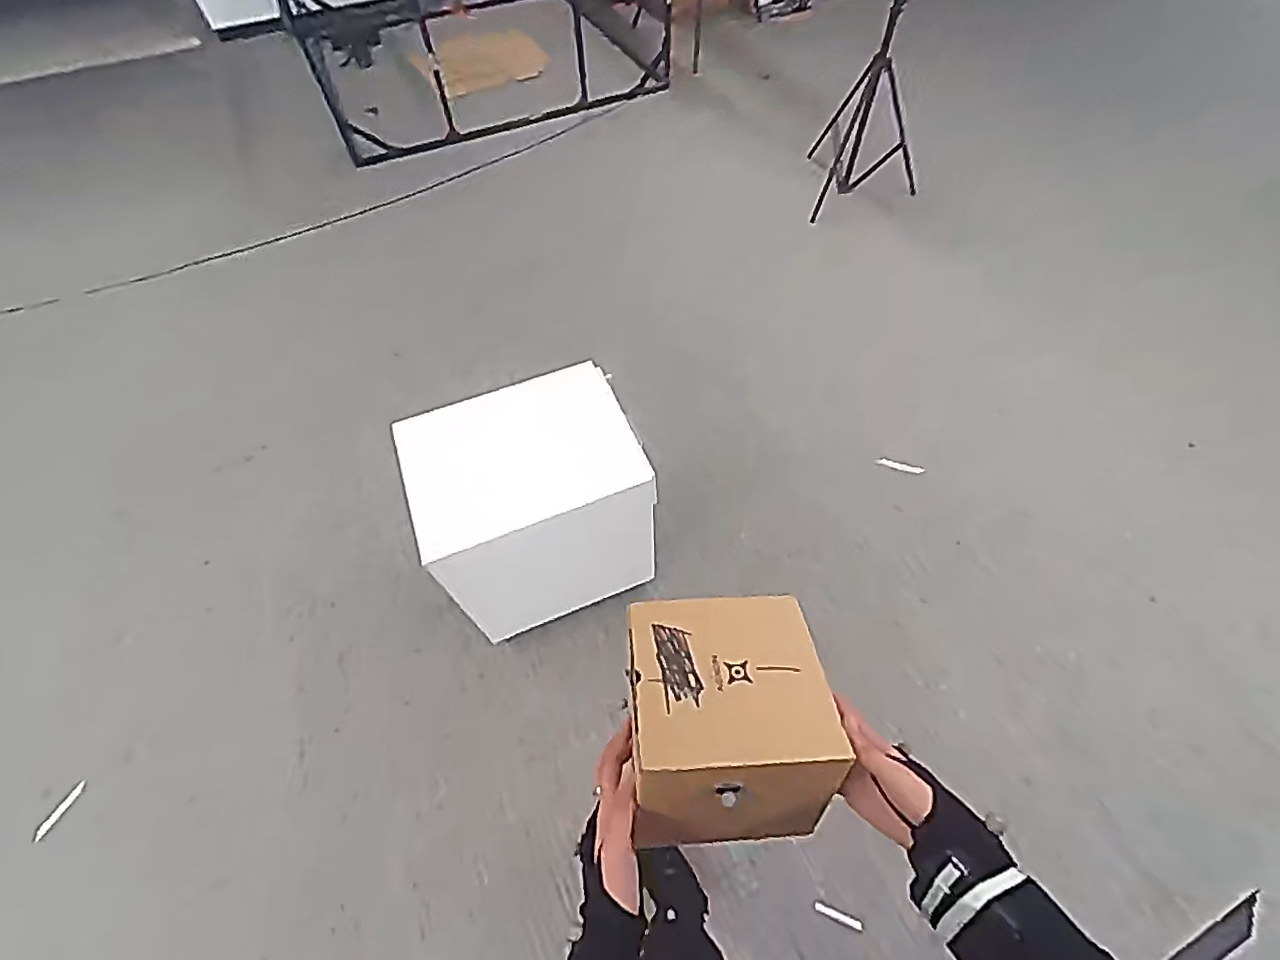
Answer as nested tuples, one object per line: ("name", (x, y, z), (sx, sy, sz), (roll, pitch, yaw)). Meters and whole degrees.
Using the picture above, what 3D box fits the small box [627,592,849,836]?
("small box", (0.079, 0.233, 0.540), (0.179, 0.176, 0.168), (-2, 39, -4))
